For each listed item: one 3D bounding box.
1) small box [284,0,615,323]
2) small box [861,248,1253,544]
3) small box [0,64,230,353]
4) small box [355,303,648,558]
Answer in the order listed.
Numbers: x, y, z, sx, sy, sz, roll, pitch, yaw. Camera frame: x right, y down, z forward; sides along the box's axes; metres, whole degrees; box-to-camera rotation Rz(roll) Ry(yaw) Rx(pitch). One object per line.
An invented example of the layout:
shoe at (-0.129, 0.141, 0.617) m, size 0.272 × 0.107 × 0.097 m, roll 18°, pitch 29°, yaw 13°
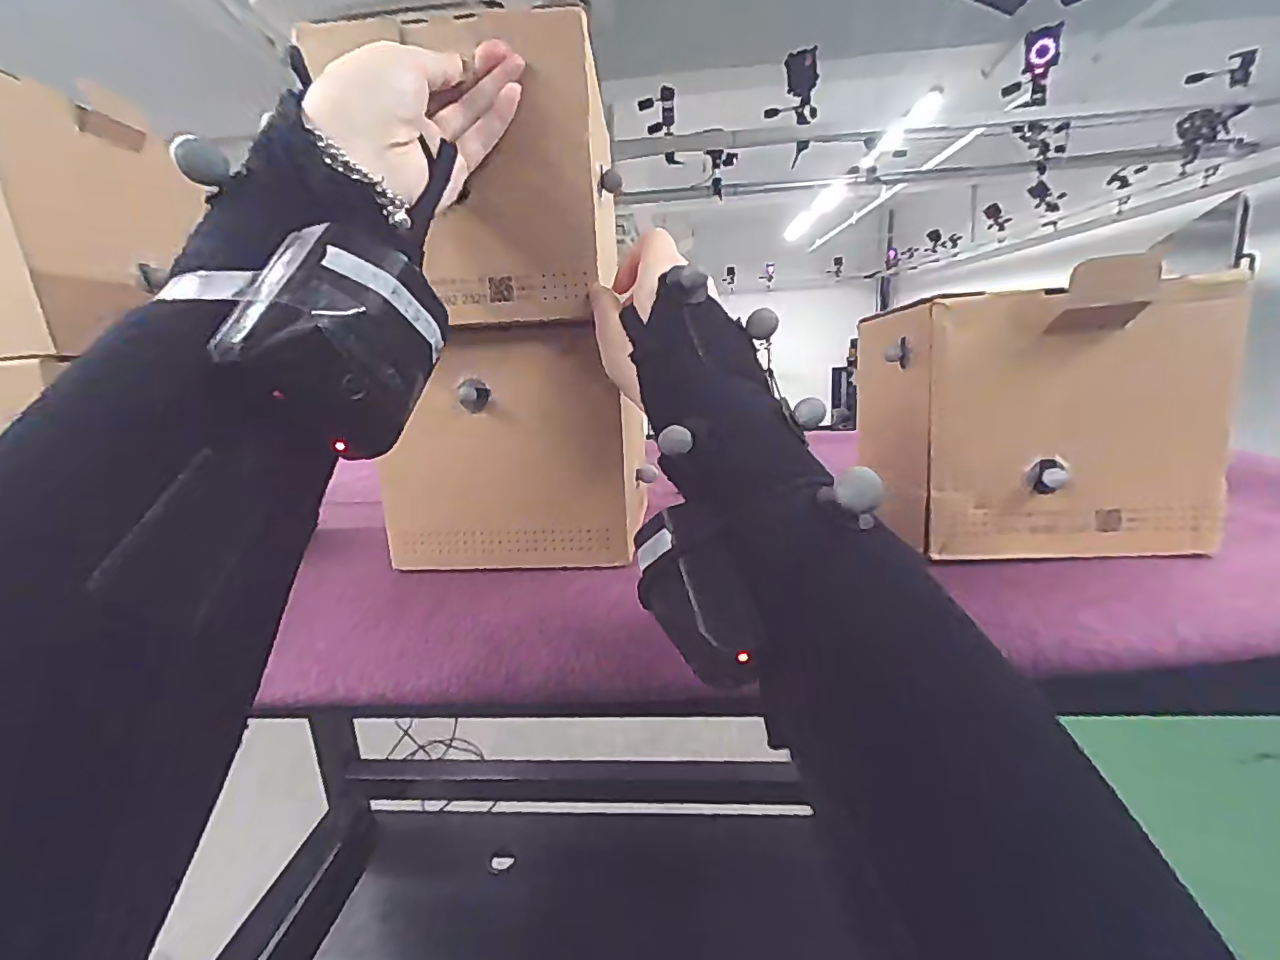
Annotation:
small box at (-0.107, -0.197, 0.391) m, size 0.168 × 0.176 × 0.179 m, roll -3°, pitch 13°, yaw 1°
small box at (0.267, -0.057, 0.398) m, size 0.168 × 0.176 × 0.179 m, roll -4°, pitch 12°, yaw 8°
small box at (-0.458, -0.173, 0.396) m, size 0.179 × 0.176 × 0.168 m, roll -5°, pitch 14°, yaw 1°
small box at (-0.091, -0.040, 0.438) m, size 0.179 × 0.176 × 0.168 m, roll -2°, pitch 12°, yaw 5°
